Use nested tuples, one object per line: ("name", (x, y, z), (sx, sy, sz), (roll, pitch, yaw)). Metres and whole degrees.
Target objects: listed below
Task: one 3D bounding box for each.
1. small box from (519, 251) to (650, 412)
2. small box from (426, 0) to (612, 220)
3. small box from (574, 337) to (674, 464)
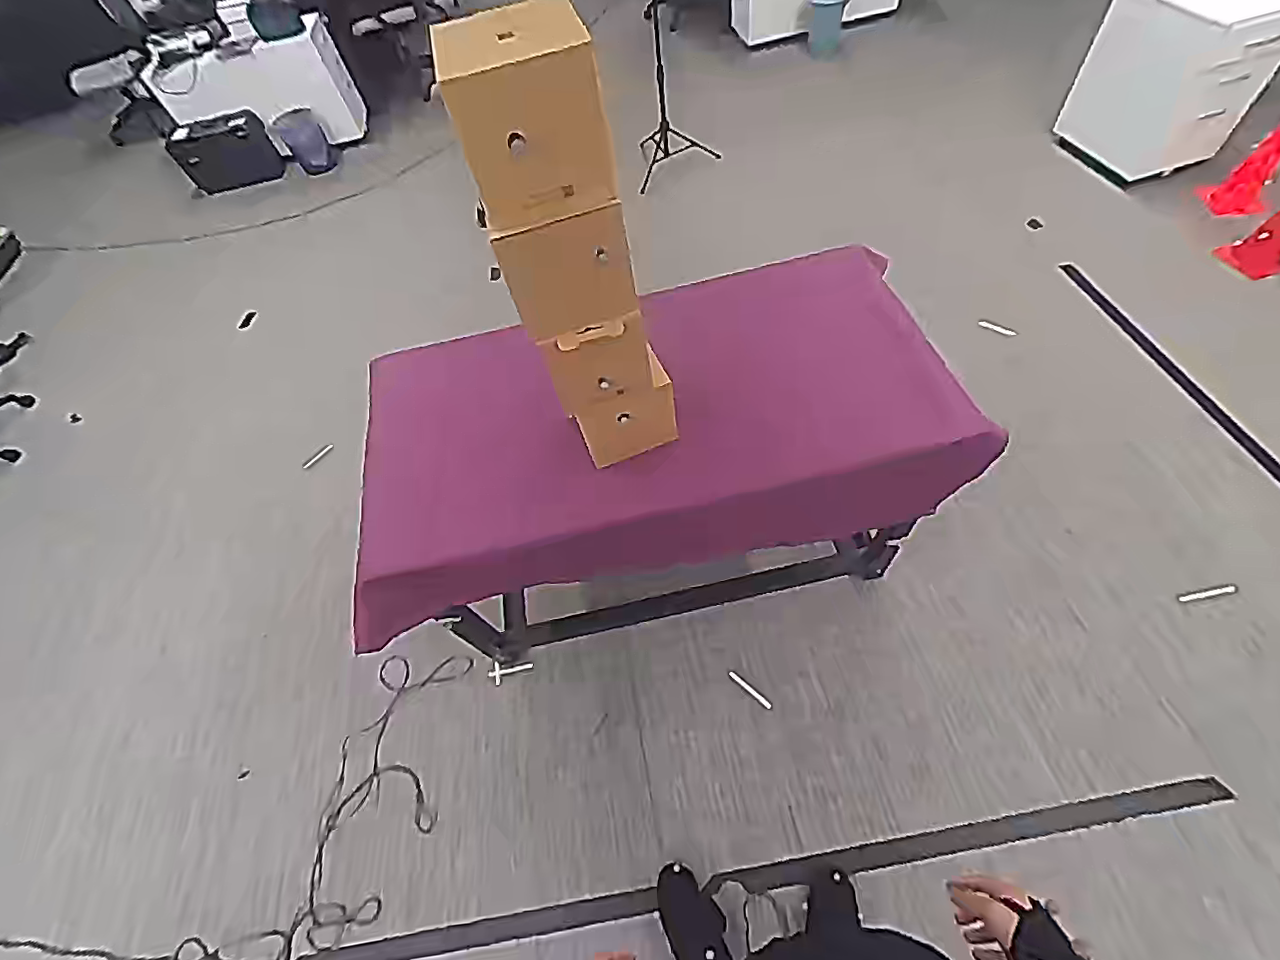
("small box", (-0.090, -0.246, 0.913), (0.168, 0.176, 0.179), (-18, 57, -2))
("small box", (-0.140, -0.442, 0.655), (0.168, 0.176, 0.179), (-17, 55, -2))
("small box", (-0.045, -0.158, 1.046), (0.179, 0.176, 0.168), (-22, 57, -6))
